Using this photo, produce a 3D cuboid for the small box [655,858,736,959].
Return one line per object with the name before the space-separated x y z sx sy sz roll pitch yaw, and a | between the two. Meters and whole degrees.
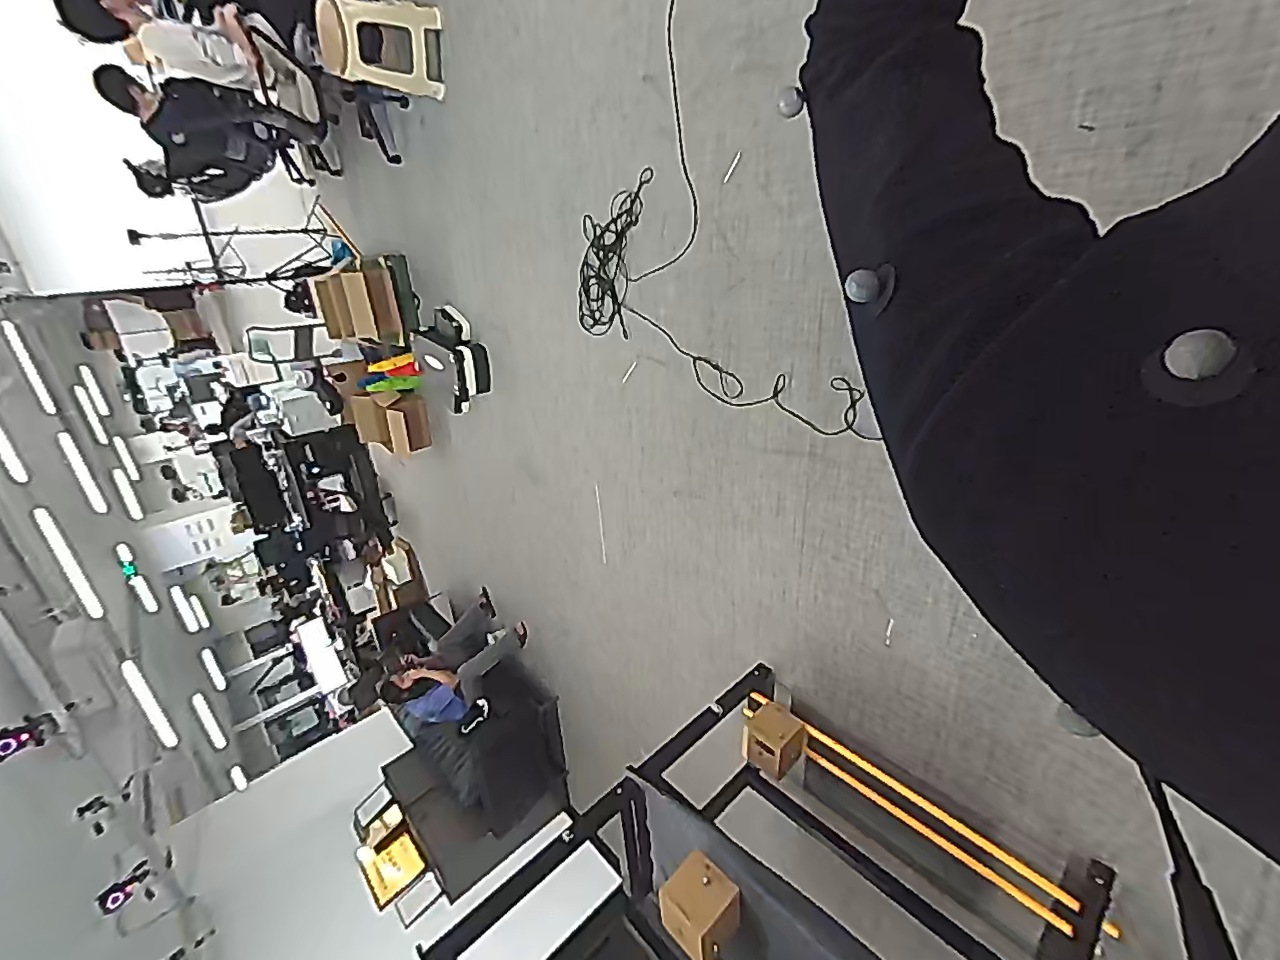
small box | 0.162 1.249 1.547 0.168 0.176 0.179 19 122 44
